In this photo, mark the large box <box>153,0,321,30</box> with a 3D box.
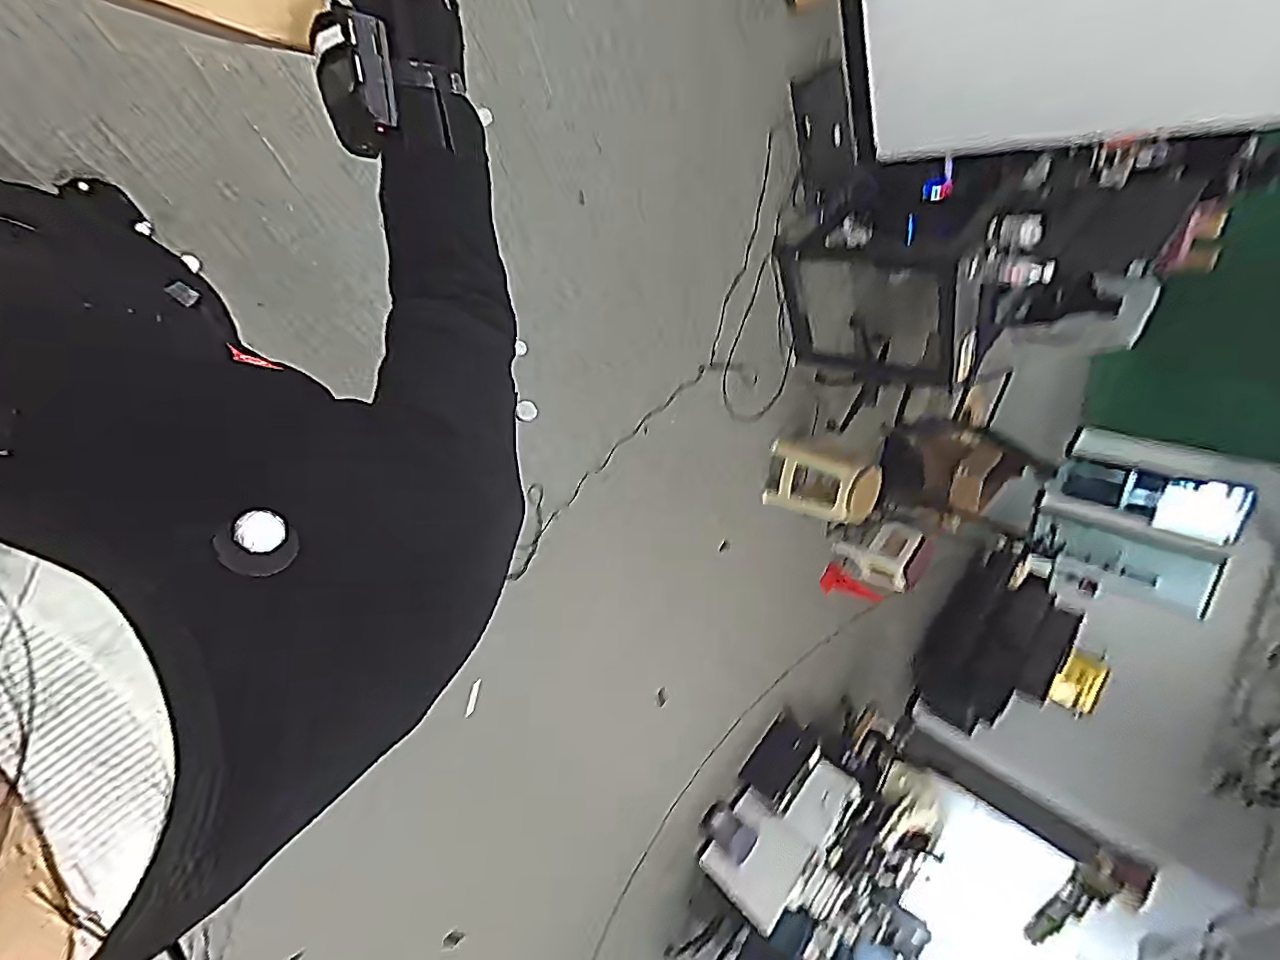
[{"bbox_3d":[-0.413,-0.466,0.241,0.408,0.320,0.320,-11,130,-41],"label":"large box"}]
